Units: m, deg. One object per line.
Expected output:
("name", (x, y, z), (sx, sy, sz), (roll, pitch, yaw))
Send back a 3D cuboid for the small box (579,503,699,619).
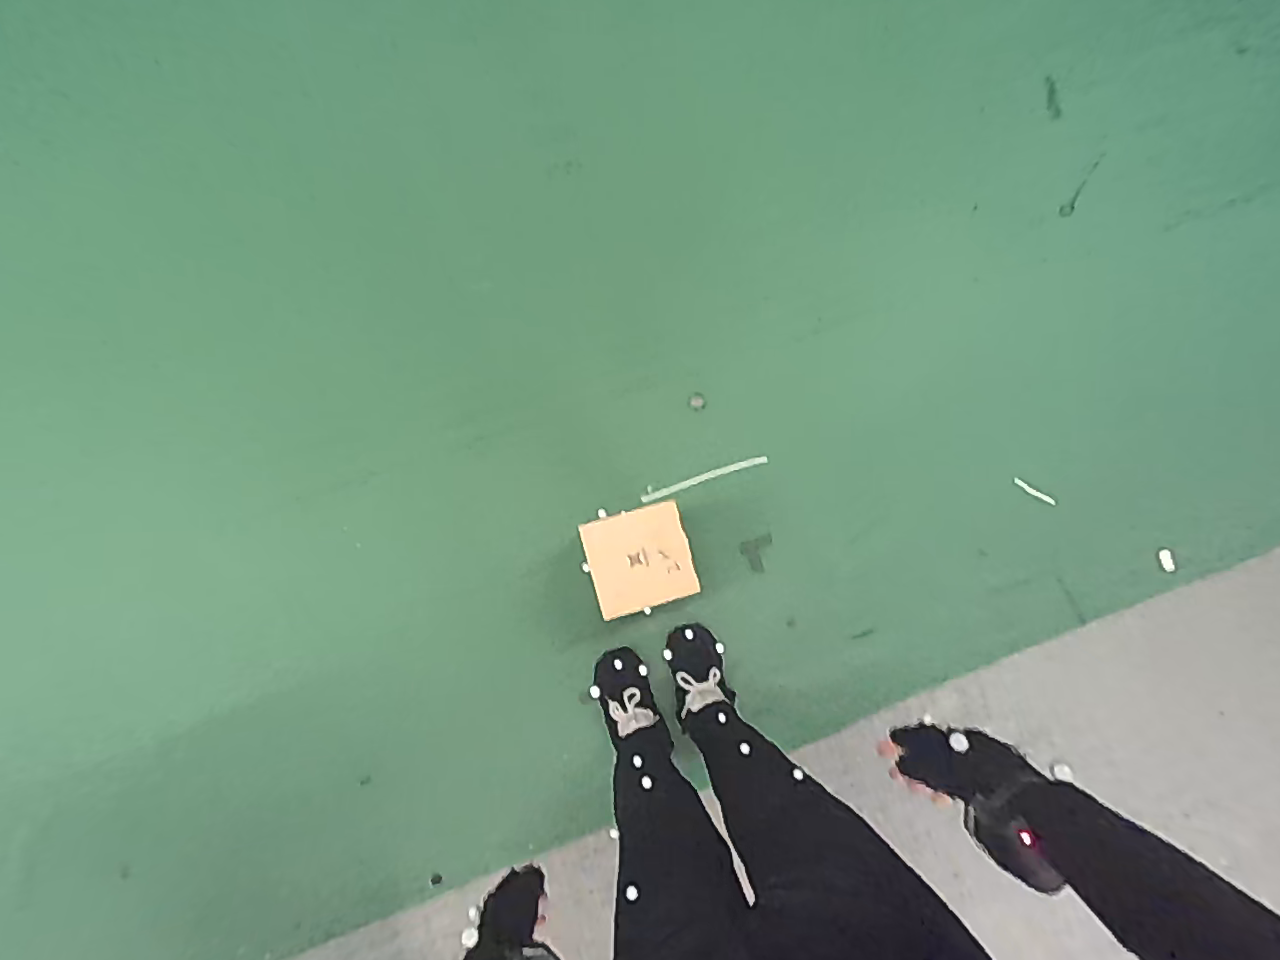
("small box", (-0.005, 0.147, 1.004), (0.179, 0.176, 0.168), (-15, 85, -6))
